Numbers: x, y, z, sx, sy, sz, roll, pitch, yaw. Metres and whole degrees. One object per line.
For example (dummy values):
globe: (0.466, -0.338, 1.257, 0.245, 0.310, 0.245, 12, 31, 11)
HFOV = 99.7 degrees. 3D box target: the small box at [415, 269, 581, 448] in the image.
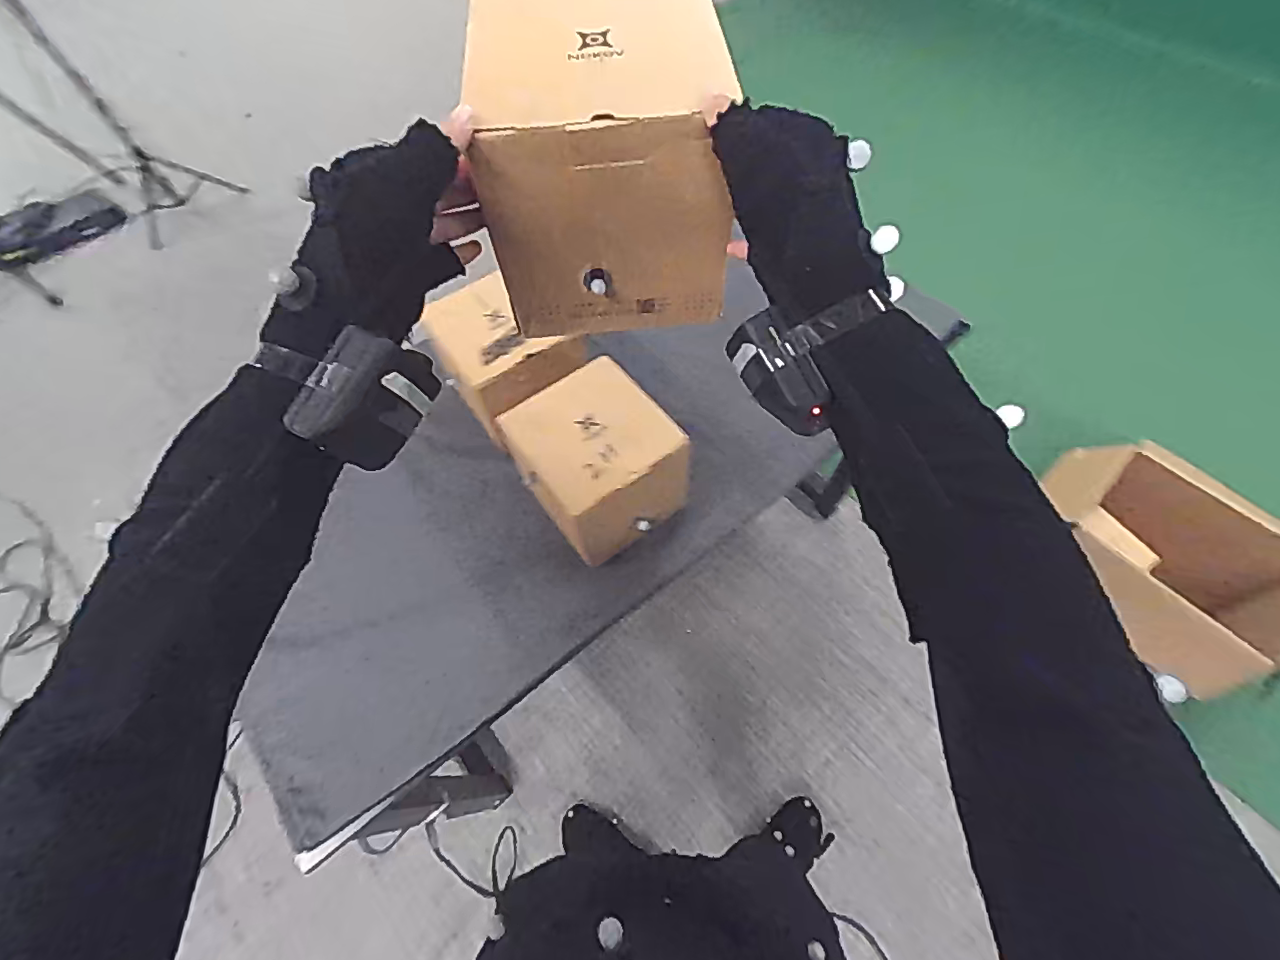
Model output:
small box: (-0.197, -0.171, 0.813, 0.168, 0.176, 0.179, -34, 65, -16)

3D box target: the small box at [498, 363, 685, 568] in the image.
small box: (-0.059, -0.014, 0.719, 0.168, 0.176, 0.179, -34, 65, -16)

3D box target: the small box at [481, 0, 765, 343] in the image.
small box: (-0.015, -0.232, 0.416, 0.168, 0.176, 0.179, -6, 63, -1)
